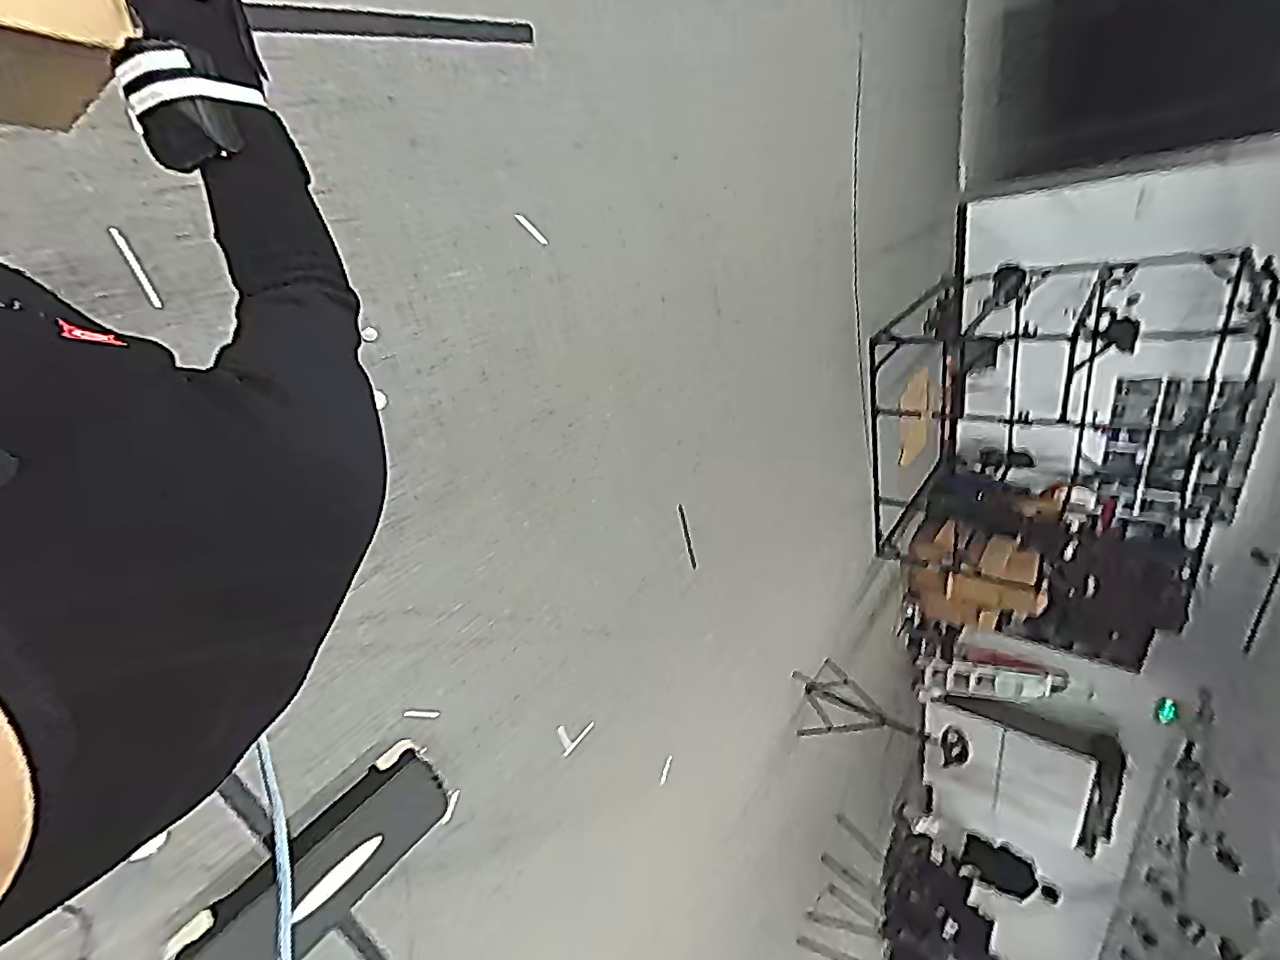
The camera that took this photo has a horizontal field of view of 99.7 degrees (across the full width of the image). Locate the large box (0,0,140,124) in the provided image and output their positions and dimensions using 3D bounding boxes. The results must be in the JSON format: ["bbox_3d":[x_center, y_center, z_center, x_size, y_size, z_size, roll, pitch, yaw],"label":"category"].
[{"bbox_3d":[-0.590,-0.414,0.264,0.408,0.320,0.320,-25,122,-48],"label":"large box"}]
